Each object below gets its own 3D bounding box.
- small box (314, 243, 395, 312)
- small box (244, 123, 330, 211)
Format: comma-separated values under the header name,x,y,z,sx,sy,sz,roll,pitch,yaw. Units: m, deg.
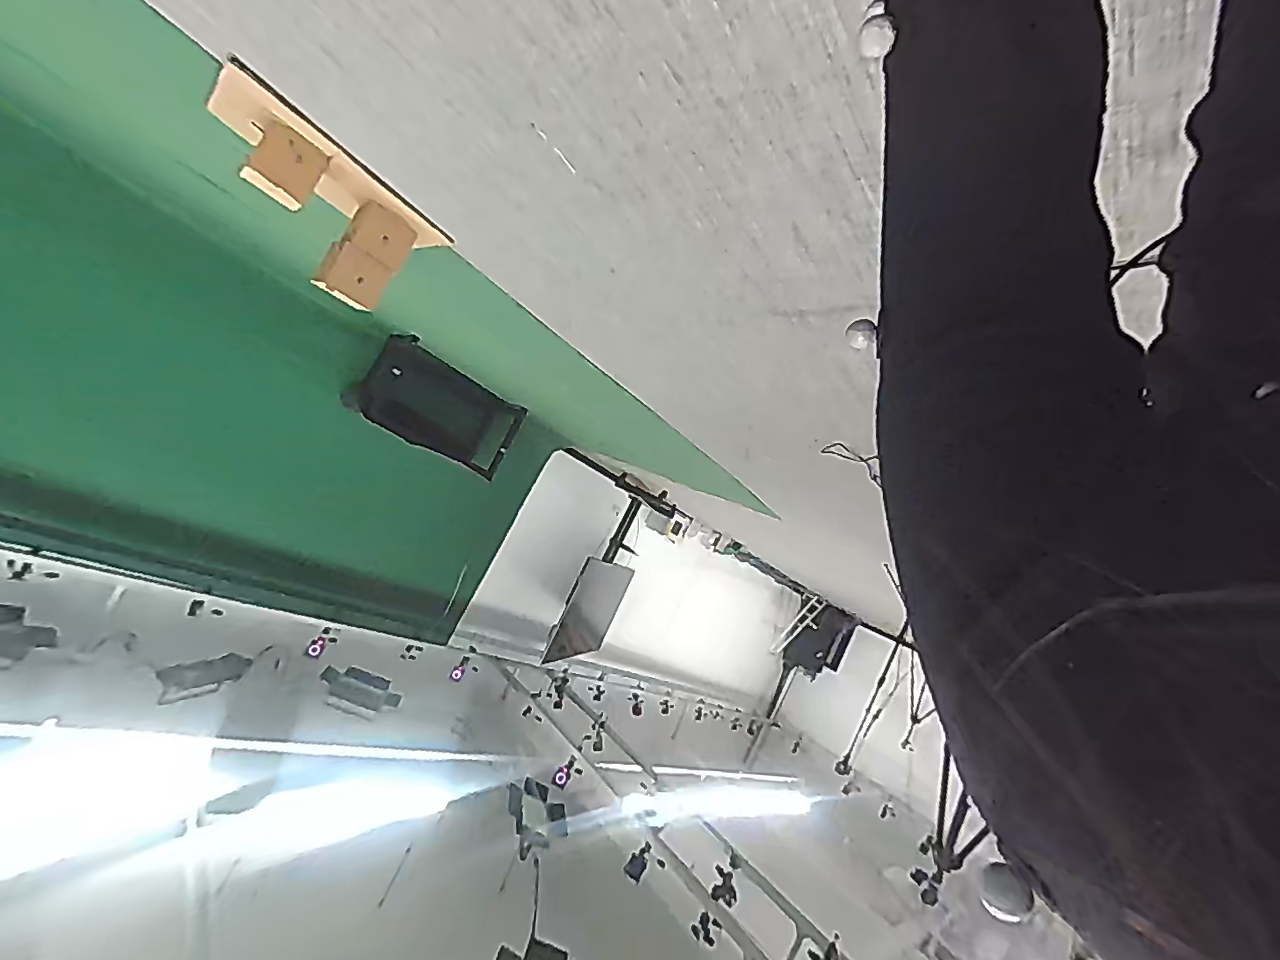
name,x,y,z,sx,sy,sz,roll,pitch,yaw
small box,-1.022,-0.729,1.937,0.168,0.176,0.179,22,174,42
small box,-1.129,-0.998,1.733,0.179,0.176,0.168,20,171,46
